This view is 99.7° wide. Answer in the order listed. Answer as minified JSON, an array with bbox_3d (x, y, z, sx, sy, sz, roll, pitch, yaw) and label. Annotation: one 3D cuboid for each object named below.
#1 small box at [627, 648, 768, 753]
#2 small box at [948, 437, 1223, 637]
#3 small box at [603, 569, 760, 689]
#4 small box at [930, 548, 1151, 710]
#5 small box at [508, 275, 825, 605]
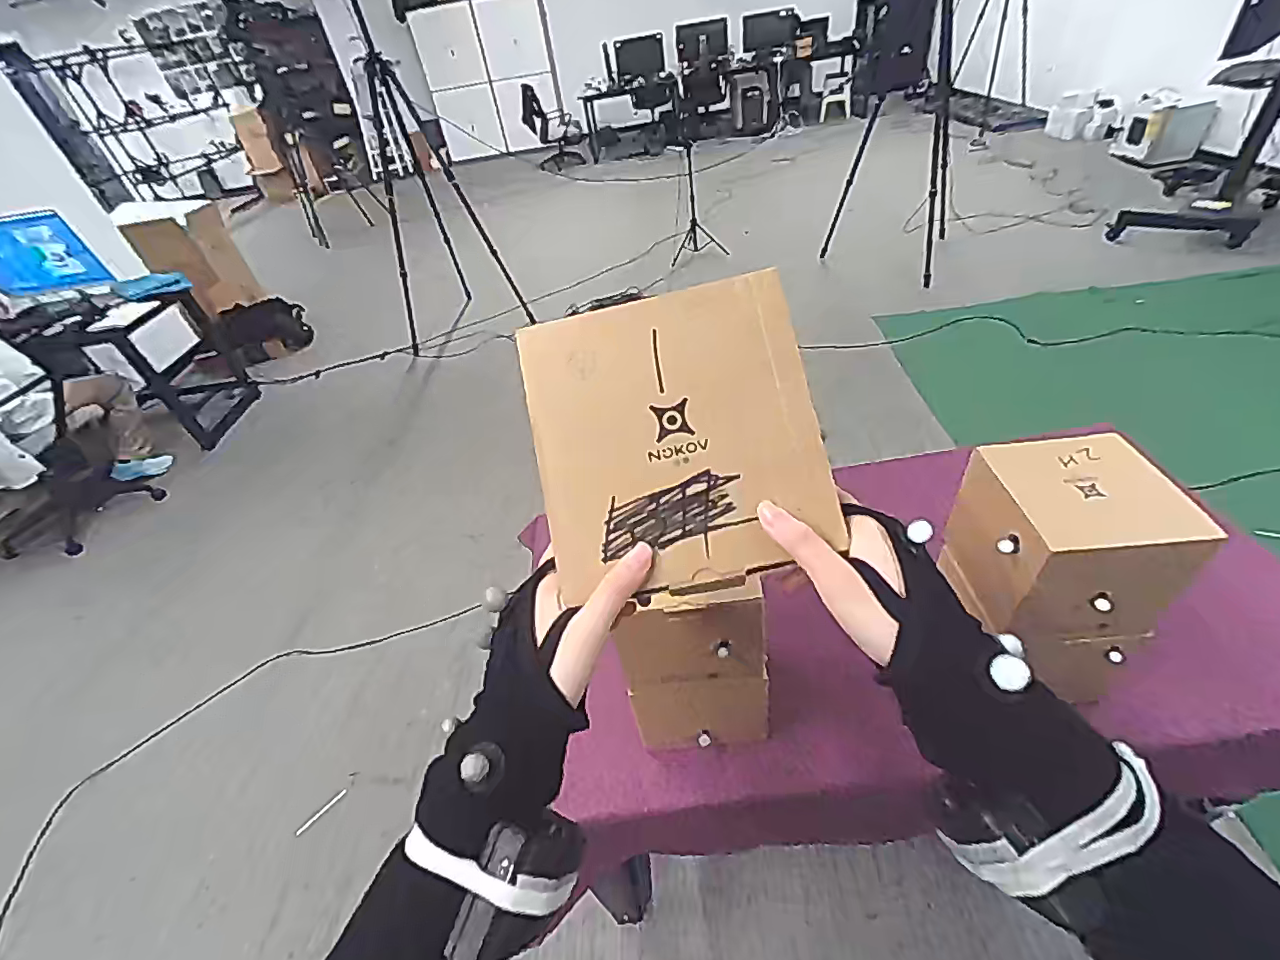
[{"bbox_3d":[0.077,0.268,0.771,0.179,0.176,0.168,-7,40,4],"label":"small box"},{"bbox_3d":[0.499,0.073,0.645,0.168,0.176,0.179,-5,40,6],"label":"small box"},{"bbox_3d":[0.054,0.142,0.669,0.168,0.176,0.179,-7,40,5],"label":"small box"},{"bbox_3d":[0.524,0.200,0.747,0.179,0.176,0.168,-7,40,5],"label":"small box"},{"bbox_3d":[0.020,-0.014,0.401,0.168,0.176,0.179,-12,78,4],"label":"small box"}]
